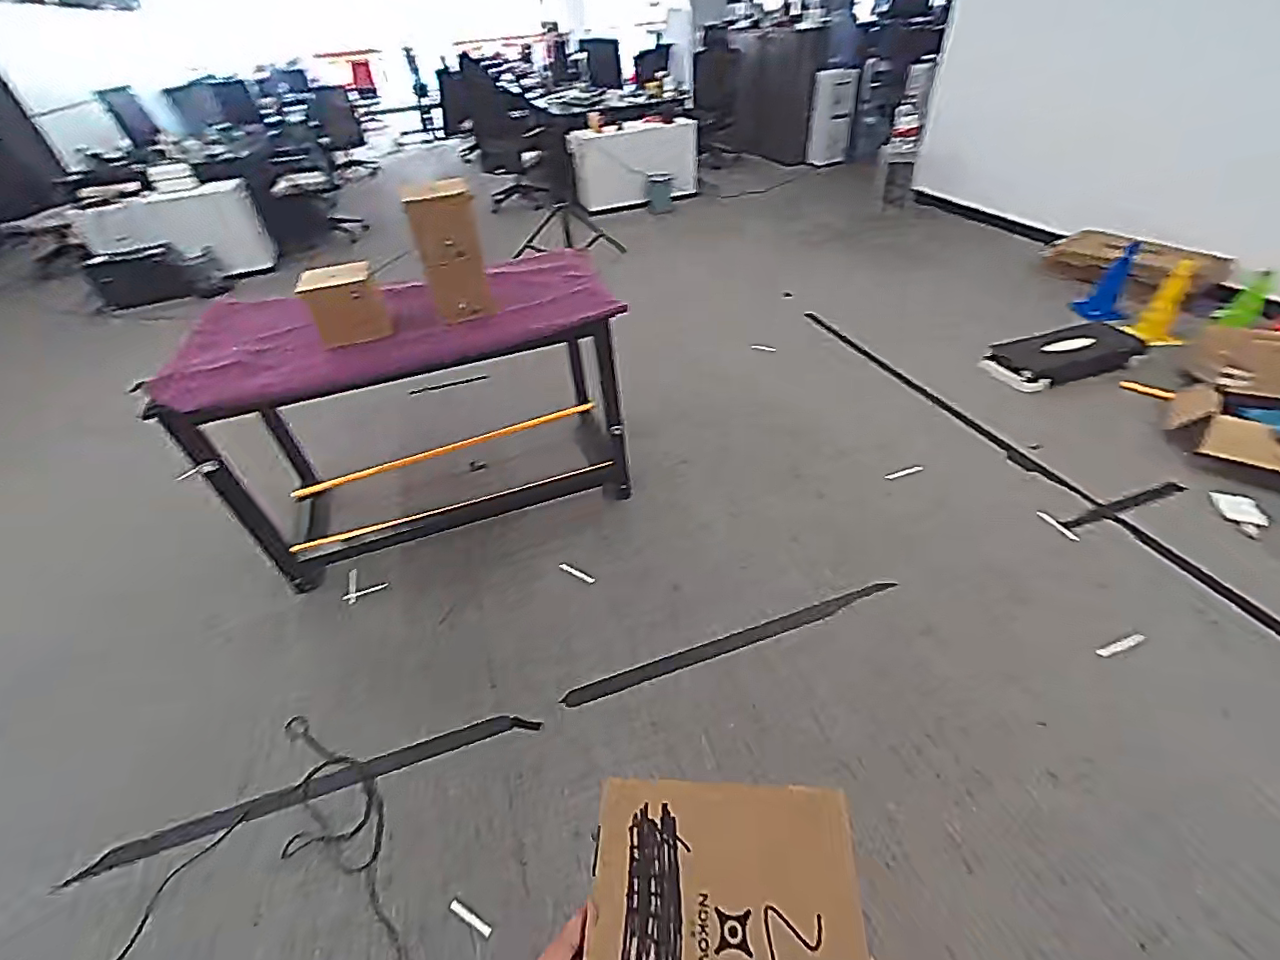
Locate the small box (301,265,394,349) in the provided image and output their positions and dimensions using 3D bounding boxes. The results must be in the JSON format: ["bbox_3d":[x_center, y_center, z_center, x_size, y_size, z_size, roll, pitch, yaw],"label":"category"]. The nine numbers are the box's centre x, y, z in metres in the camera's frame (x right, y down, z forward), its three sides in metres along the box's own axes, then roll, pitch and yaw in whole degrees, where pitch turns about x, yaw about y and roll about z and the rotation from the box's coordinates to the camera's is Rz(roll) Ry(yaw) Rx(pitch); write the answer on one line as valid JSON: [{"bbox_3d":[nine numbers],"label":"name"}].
[{"bbox_3d":[-0.820,-0.489,1.532,0.179,0.176,0.168,-15,42,-12],"label":"small box"}]

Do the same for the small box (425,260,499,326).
[{"bbox_3d":[-0.525,-0.575,1.597,0.168,0.176,0.179,-15,42,-10],"label":"small box"}]

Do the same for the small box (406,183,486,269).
[{"bbox_3d":[-0.532,-0.701,1.490,0.168,0.176,0.179,-15,42,-10],"label":"small box"}]
